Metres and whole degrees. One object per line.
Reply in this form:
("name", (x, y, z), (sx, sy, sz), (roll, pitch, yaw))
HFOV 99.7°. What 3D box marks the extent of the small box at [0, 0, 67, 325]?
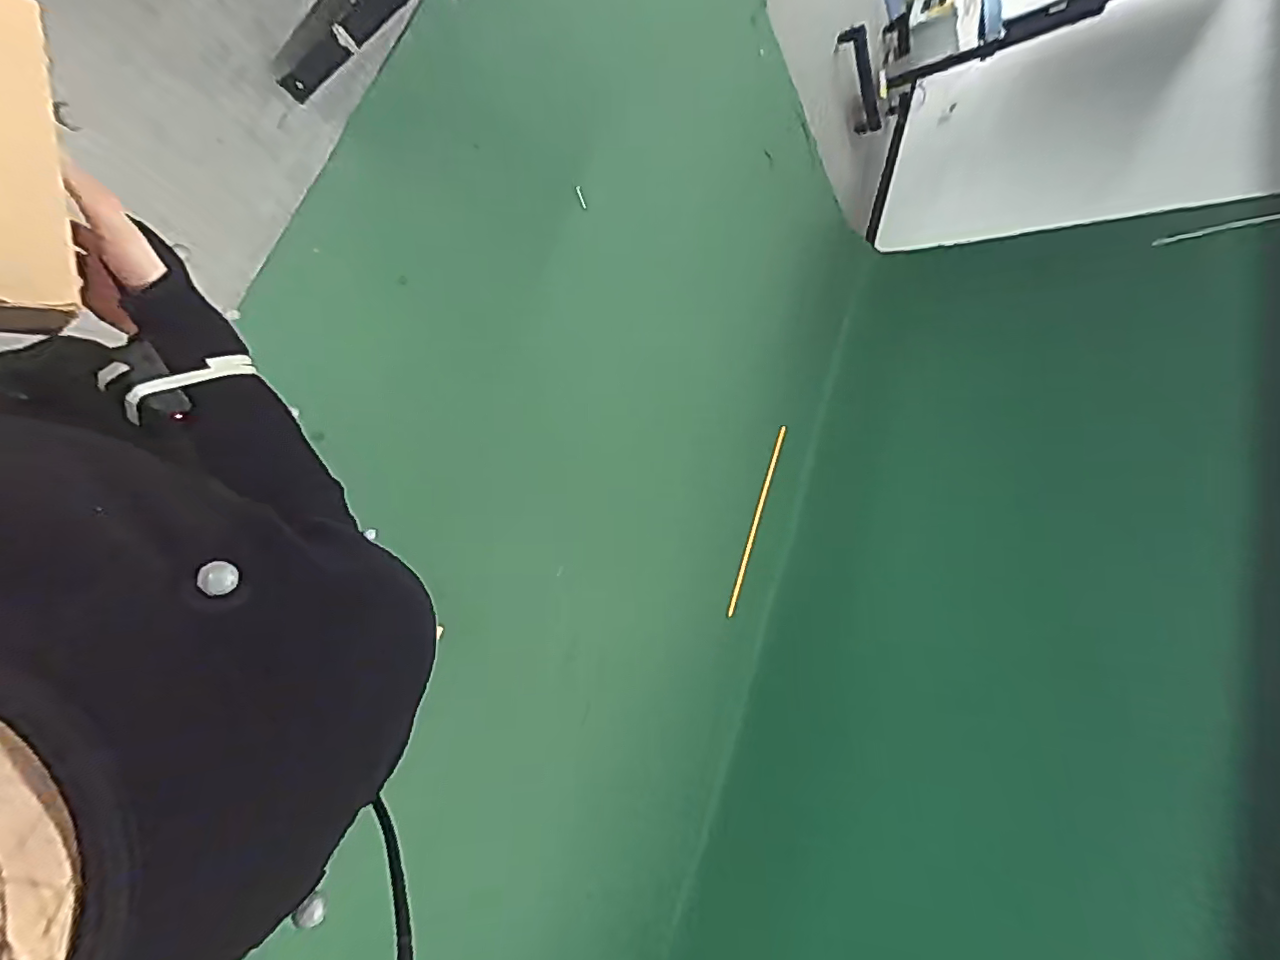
("small box", (-0.453, -0.192, 0.298), (0.168, 0.176, 0.179), (-9, 102, -51))
